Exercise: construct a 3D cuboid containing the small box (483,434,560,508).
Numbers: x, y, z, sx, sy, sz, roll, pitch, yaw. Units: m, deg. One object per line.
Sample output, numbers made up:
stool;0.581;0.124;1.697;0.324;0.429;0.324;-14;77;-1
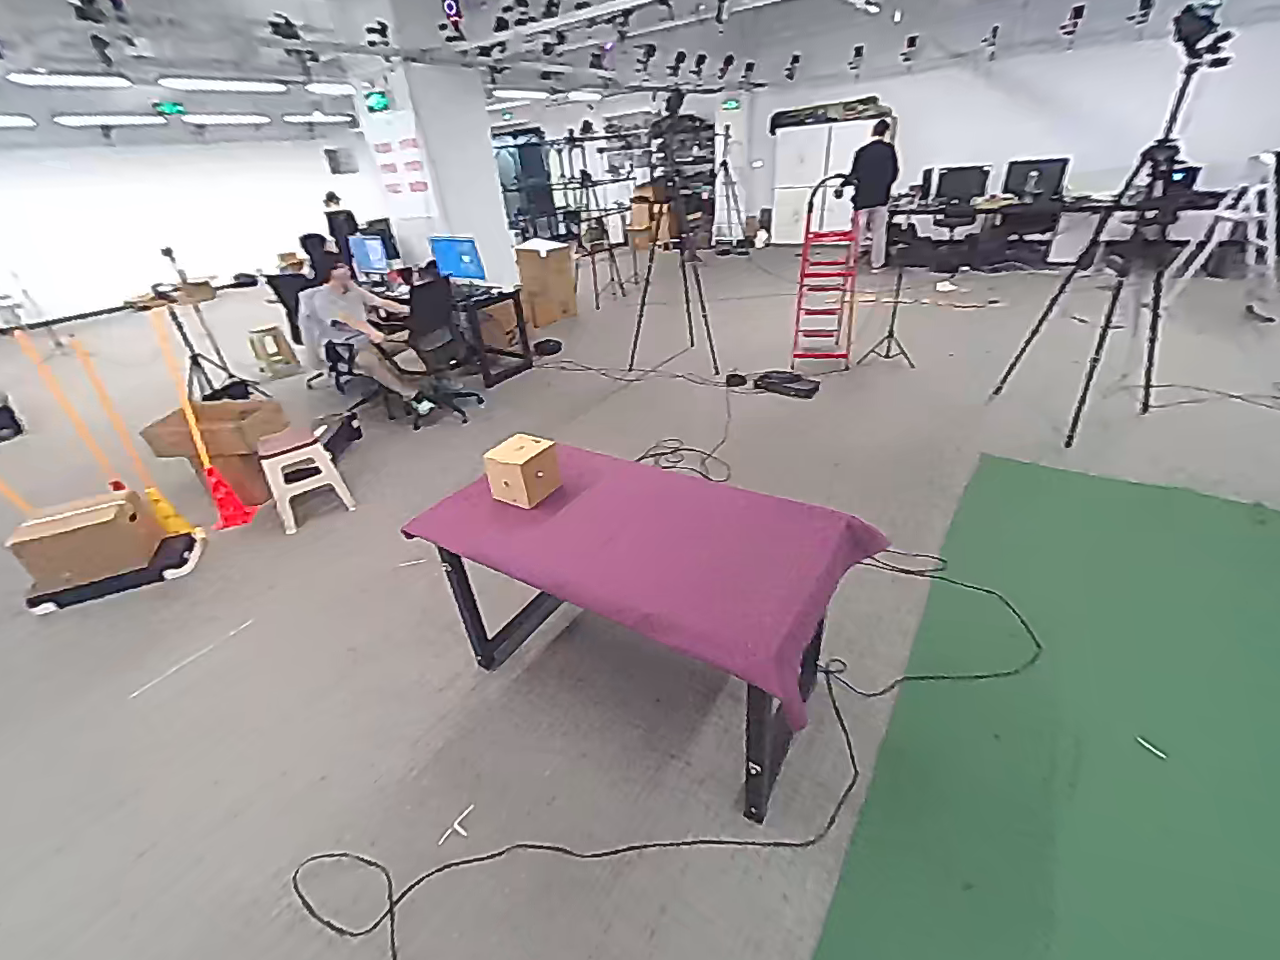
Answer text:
small box;-0.384;-0.029;1.793;0.168;0.176;0.179;15;37;29
